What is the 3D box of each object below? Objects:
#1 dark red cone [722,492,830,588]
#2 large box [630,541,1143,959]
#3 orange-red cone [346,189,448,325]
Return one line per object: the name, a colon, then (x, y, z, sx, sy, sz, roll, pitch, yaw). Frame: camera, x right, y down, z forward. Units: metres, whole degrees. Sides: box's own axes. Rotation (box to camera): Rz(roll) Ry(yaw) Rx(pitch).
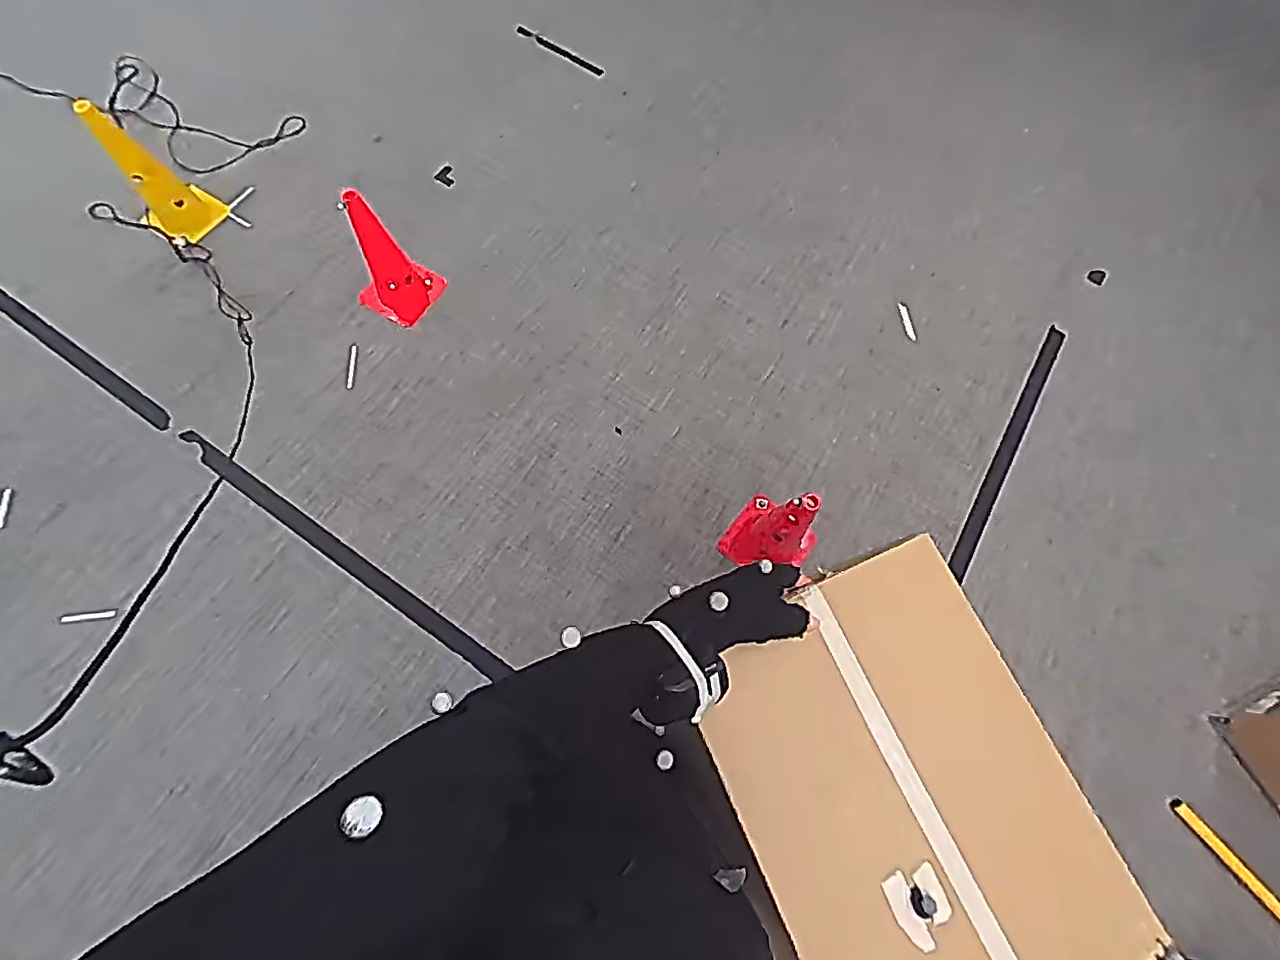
dark red cone: (0.343, 0.102, 1.234, 0.202, 0.394, 0.201, 38, 75, 11)
large box: (0.221, 0.336, 0.639, 0.320, 0.320, 0.408, -20, 75, -14)
orange-red cone: (-0.703, -0.631, 1.476, 0.199, 0.360, 0.198, 29, 71, 9)
